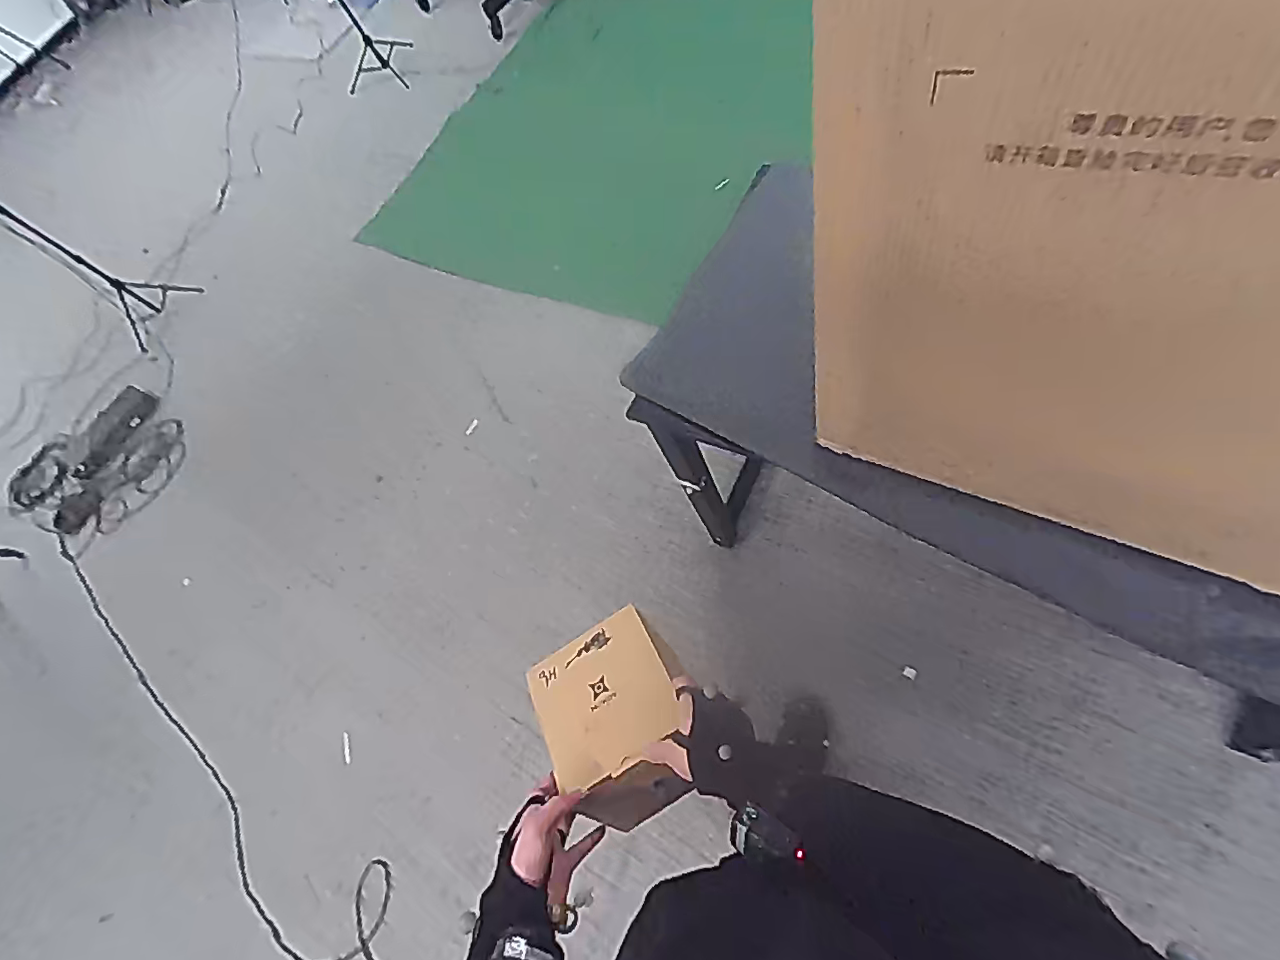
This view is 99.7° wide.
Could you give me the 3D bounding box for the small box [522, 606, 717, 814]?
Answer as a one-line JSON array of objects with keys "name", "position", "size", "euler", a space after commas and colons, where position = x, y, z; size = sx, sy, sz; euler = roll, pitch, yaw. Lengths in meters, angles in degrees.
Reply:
[{"name": "small box", "position": [-0.023, 0.304, 0.702], "size": [0.168, 0.176, 0.179], "euler": [-33, 44, -1]}]
